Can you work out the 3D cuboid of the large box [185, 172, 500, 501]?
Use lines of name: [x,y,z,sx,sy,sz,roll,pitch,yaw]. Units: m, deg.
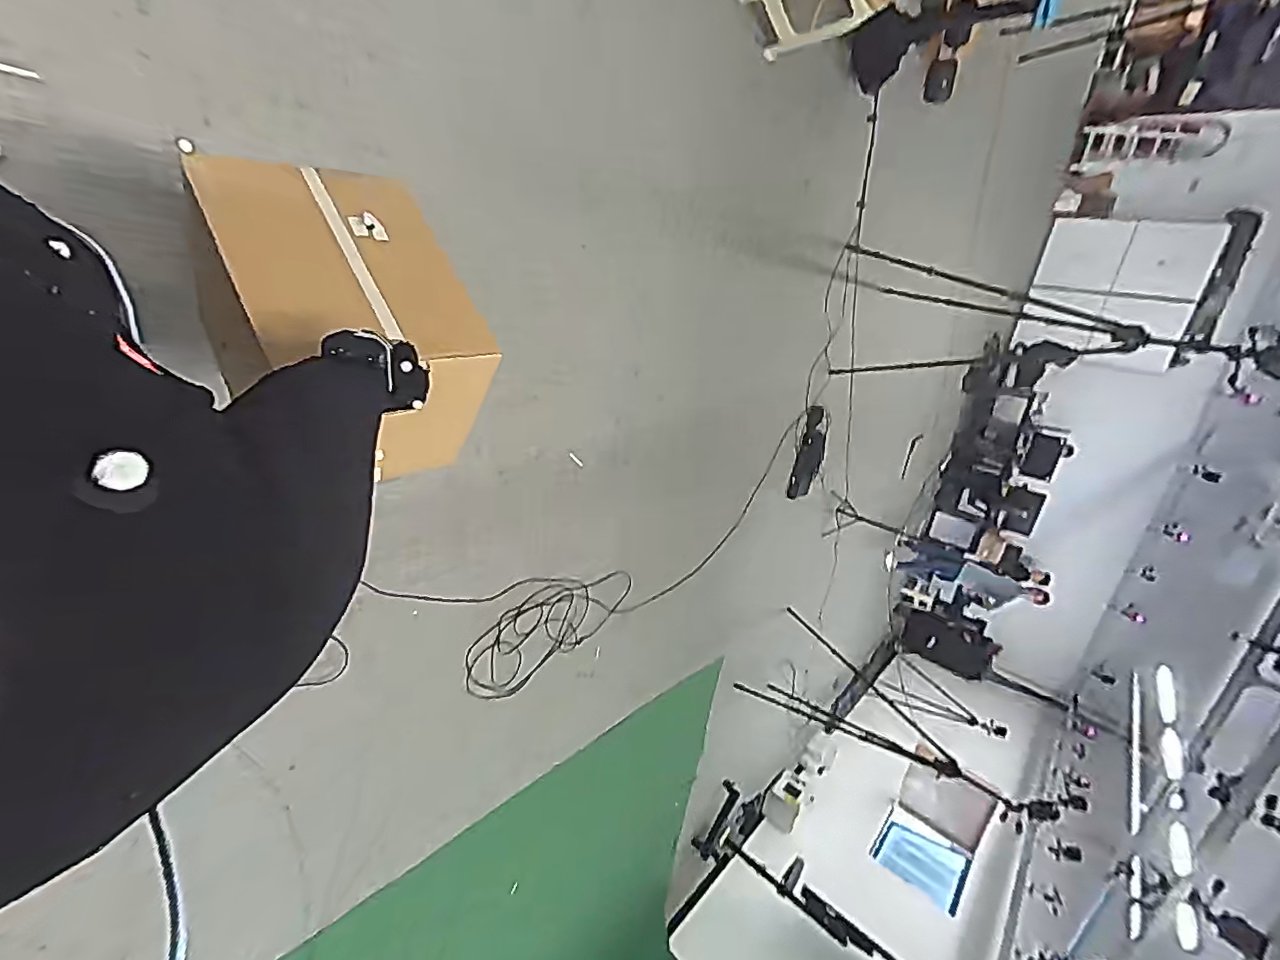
large box: [-0.498,-0.237,0.918,0.320,0.408,0.320,-19,159,-41]
